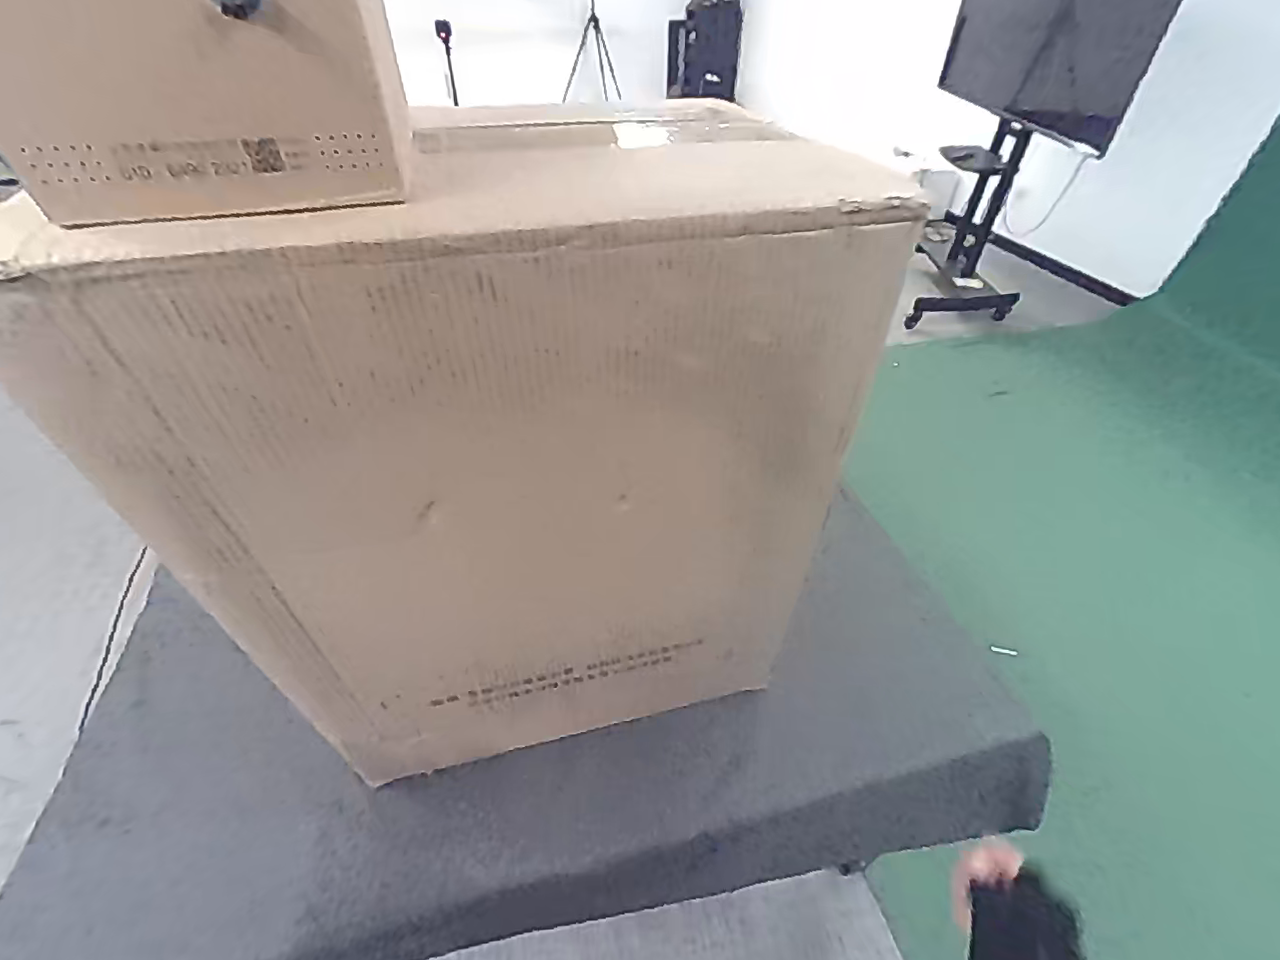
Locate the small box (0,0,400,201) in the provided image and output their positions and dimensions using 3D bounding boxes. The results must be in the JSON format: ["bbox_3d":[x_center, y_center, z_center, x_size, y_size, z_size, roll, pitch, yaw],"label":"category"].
[{"bbox_3d":[-0.234,-0.257,0.277,0.168,0.176,0.179,-14,48,-14],"label":"small box"}]
